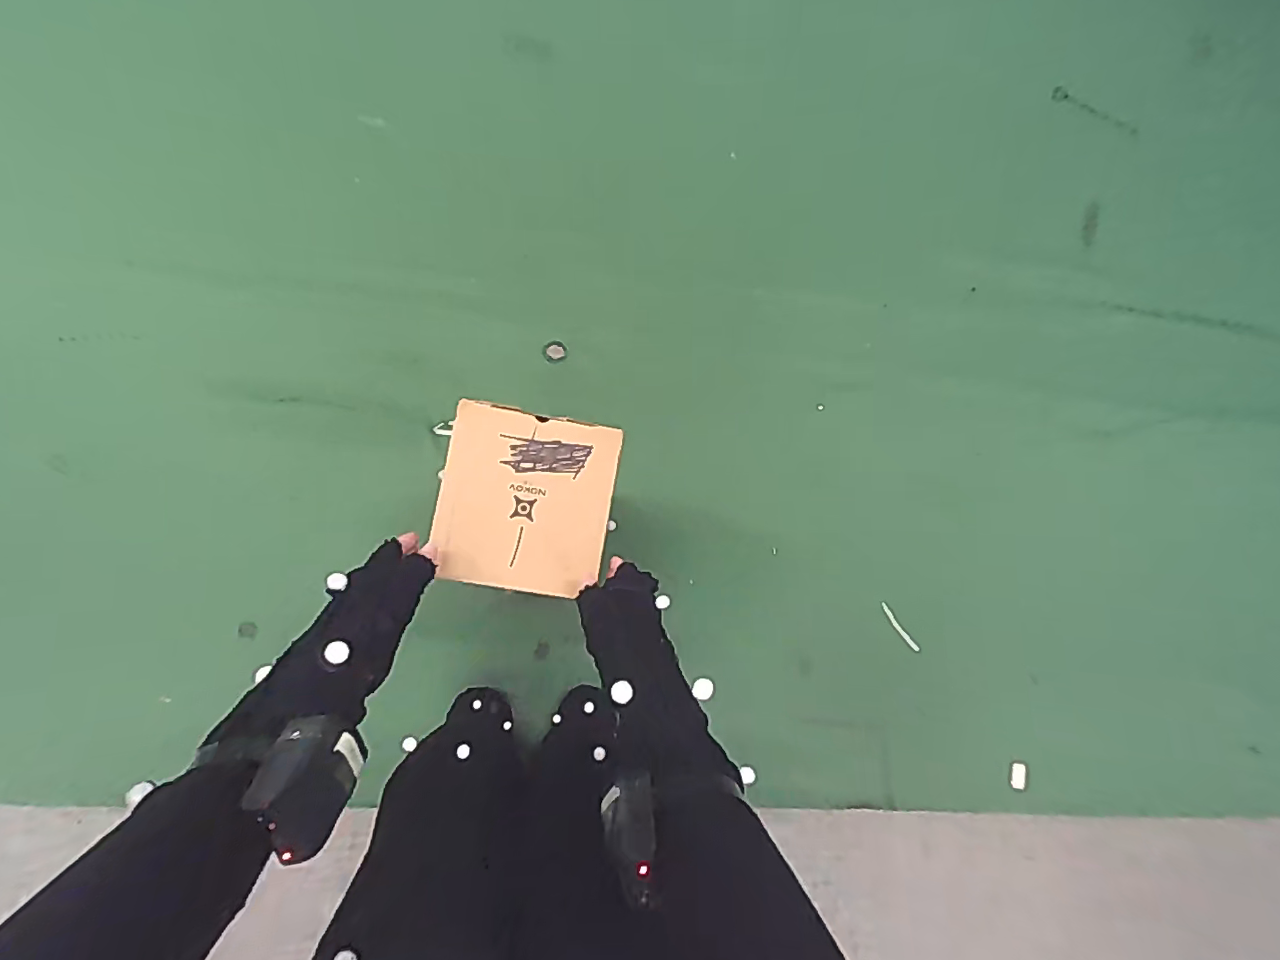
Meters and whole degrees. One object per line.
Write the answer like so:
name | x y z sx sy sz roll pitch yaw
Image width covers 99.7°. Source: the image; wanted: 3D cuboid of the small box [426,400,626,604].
small box | -0.120 0.029 0.602 0.168 0.176 0.179 11 83 -7
